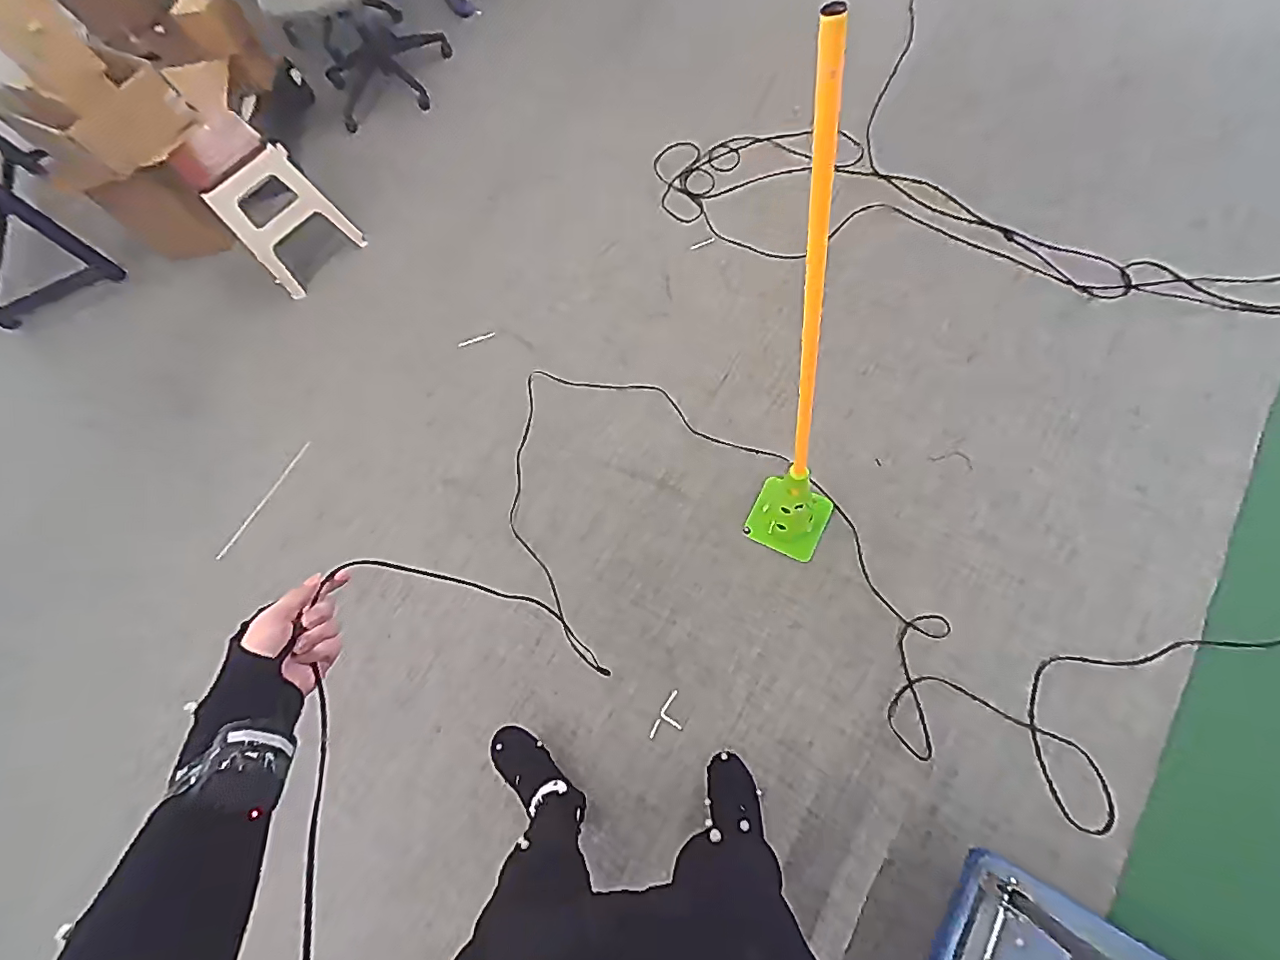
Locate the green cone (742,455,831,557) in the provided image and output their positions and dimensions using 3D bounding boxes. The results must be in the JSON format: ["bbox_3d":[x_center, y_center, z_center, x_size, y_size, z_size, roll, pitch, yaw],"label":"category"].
[{"bbox_3d":[0.384,0.034,1.361,0.200,0.368,0.202,24,74,18],"label":"green cone"}]
